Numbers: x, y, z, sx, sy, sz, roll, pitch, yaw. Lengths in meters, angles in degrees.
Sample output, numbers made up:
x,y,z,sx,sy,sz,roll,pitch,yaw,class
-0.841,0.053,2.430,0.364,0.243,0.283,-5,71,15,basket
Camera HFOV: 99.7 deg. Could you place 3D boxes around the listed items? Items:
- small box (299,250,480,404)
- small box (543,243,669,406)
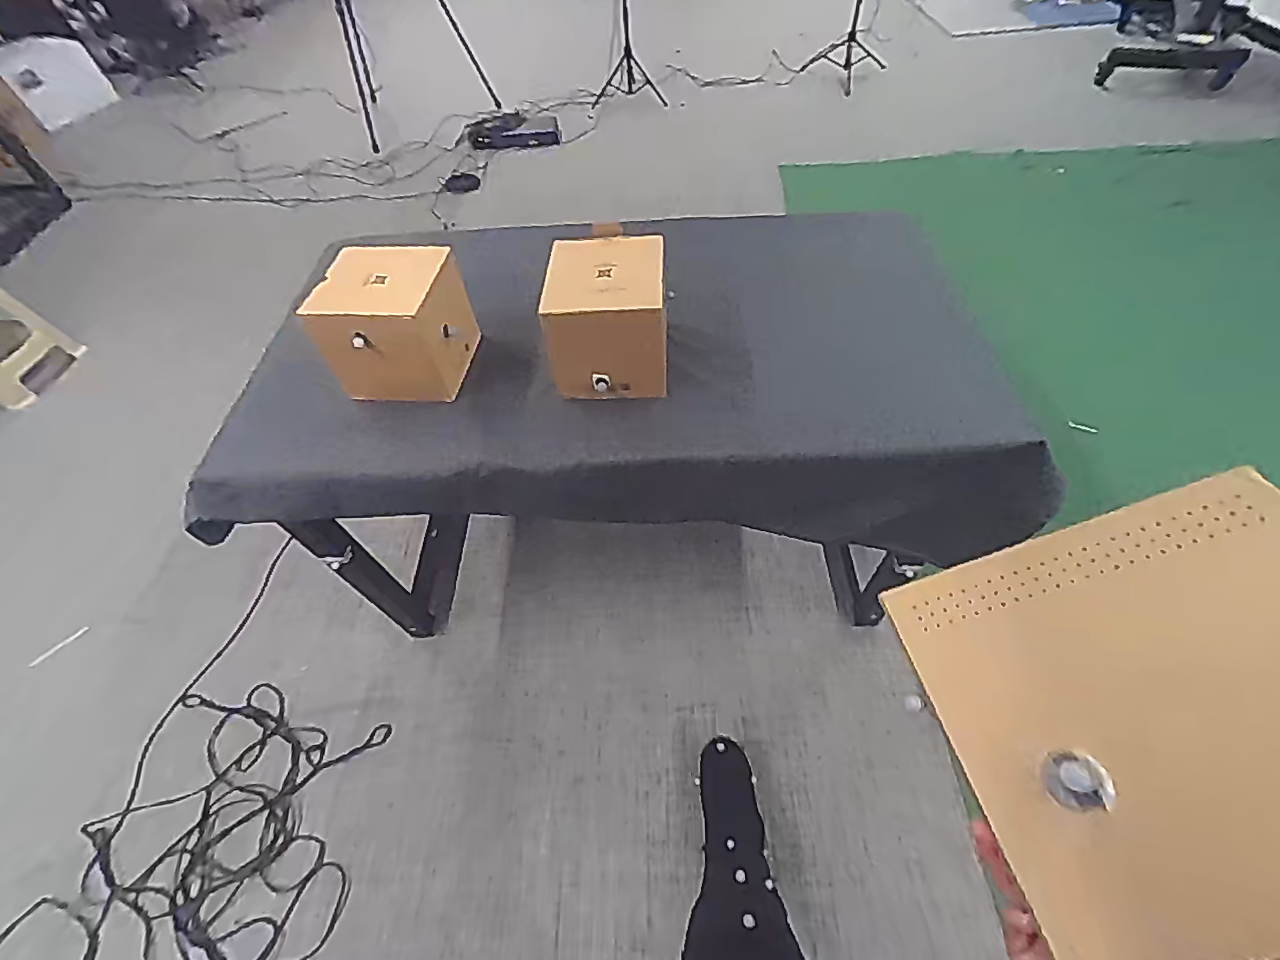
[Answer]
x,y,z,sx,sy,sz,roll,pitch,yaw,class
-0.368,-0.232,0.837,0.179,0.176,0.168,3,54,6,small box
-0.041,-0.232,0.819,0.168,0.176,0.179,-2,54,3,small box
